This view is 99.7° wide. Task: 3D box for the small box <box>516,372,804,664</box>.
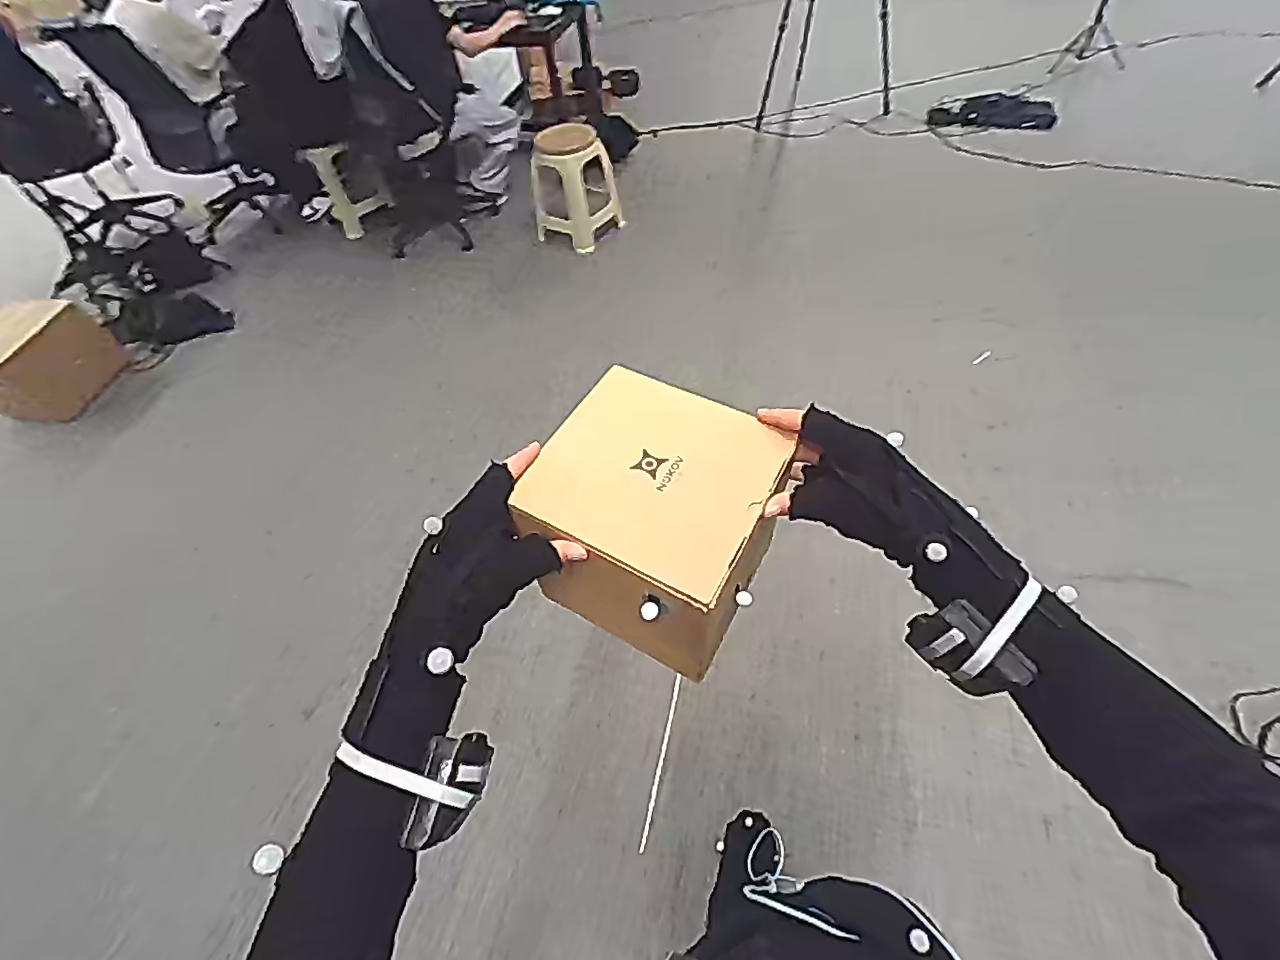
[{"bbox_3d":[0.020,0.039,0.488,0.179,0.176,0.168,25,59,19],"label":"small box"}]
